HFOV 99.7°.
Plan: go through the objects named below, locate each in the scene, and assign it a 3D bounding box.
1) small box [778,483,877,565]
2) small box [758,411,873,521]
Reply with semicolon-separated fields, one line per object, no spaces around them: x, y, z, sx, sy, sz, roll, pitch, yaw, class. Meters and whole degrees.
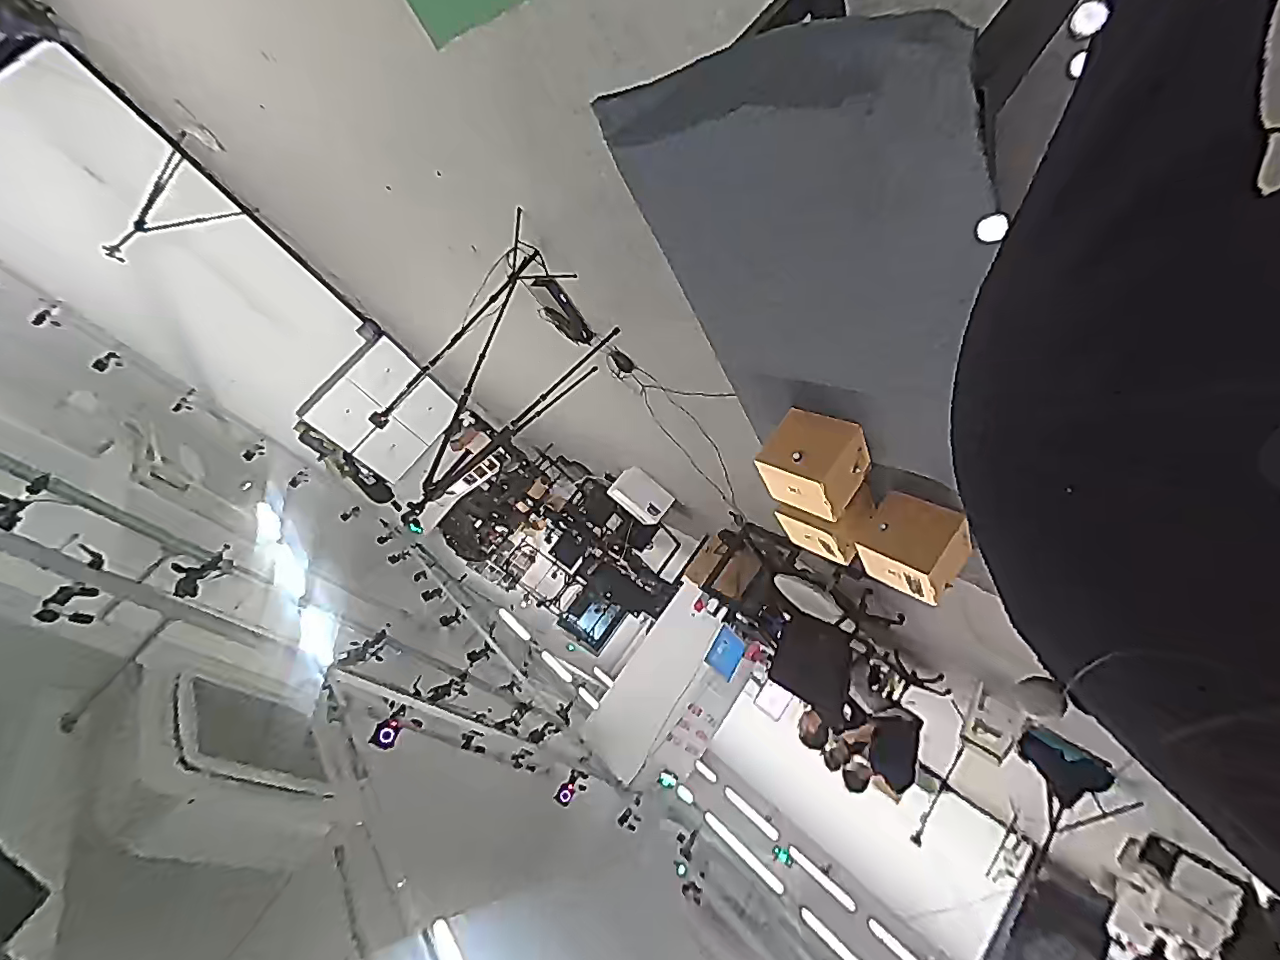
0.504;0.090;1.432;0.179;0.176;0.168;25;161;46;small box
0.409;-0.039;1.253;0.179;0.176;0.168;24;161;43;small box
